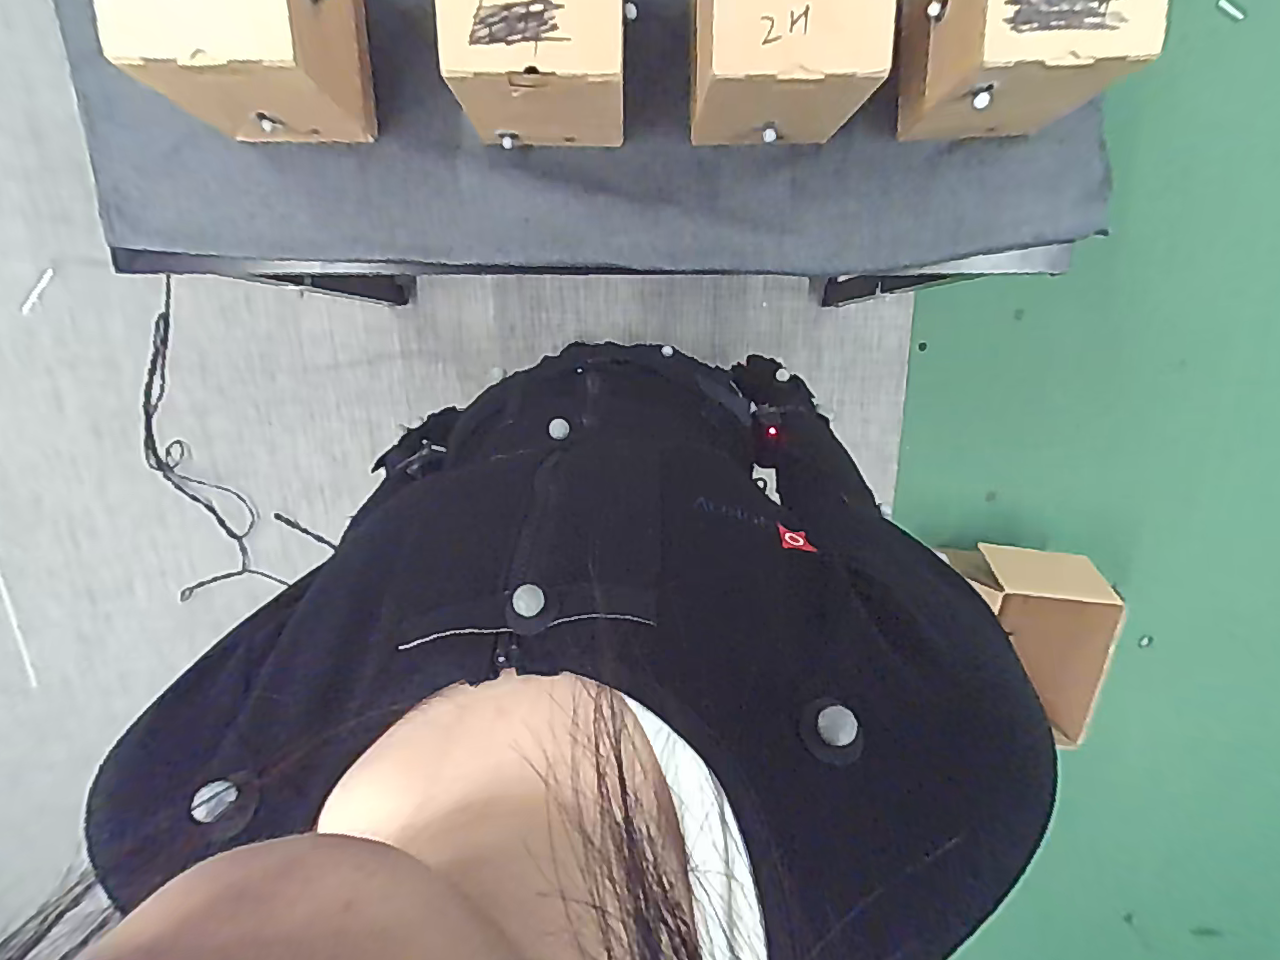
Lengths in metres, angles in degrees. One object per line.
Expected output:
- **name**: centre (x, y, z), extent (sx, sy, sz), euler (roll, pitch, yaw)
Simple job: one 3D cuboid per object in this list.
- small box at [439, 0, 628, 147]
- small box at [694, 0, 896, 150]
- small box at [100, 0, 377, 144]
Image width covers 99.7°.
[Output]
- **small box**: centre (-0.096, -0.463, 0.549), extent (0.168, 0.176, 0.179), euler (0, 102, -2)
- **small box**: centre (0.146, -0.468, 0.556), extent (0.168, 0.176, 0.179), euler (-1, 103, 0)
- **small box**: centre (-0.384, -0.466, 0.538), extent (0.168, 0.176, 0.179), euler (-1, 102, -3)
